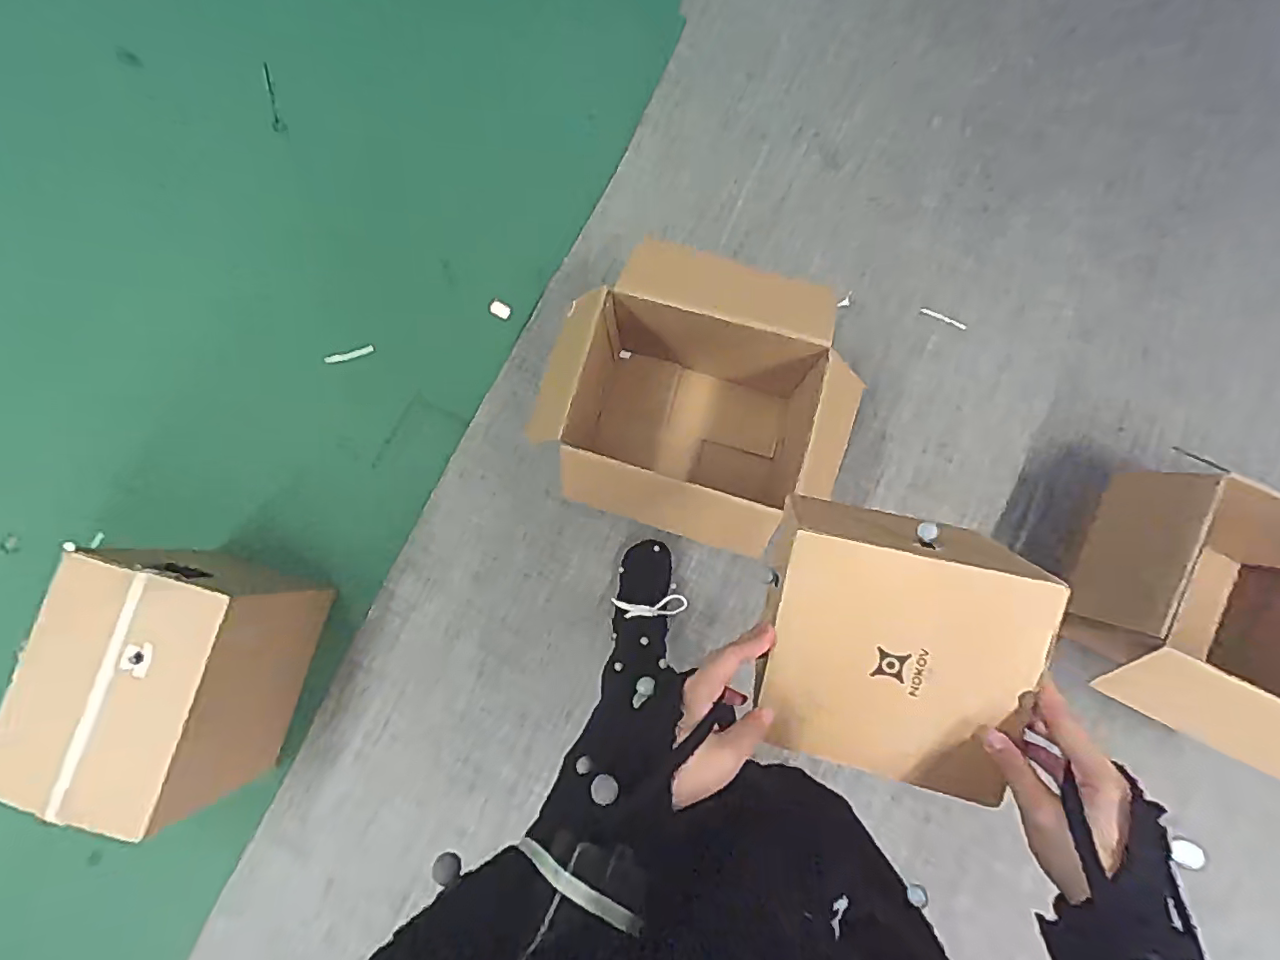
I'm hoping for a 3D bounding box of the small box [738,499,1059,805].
[{"bbox_3d":[0.186,0.117,0.448,0.179,0.176,0.168,12,98,11],"label":"small box"}]
